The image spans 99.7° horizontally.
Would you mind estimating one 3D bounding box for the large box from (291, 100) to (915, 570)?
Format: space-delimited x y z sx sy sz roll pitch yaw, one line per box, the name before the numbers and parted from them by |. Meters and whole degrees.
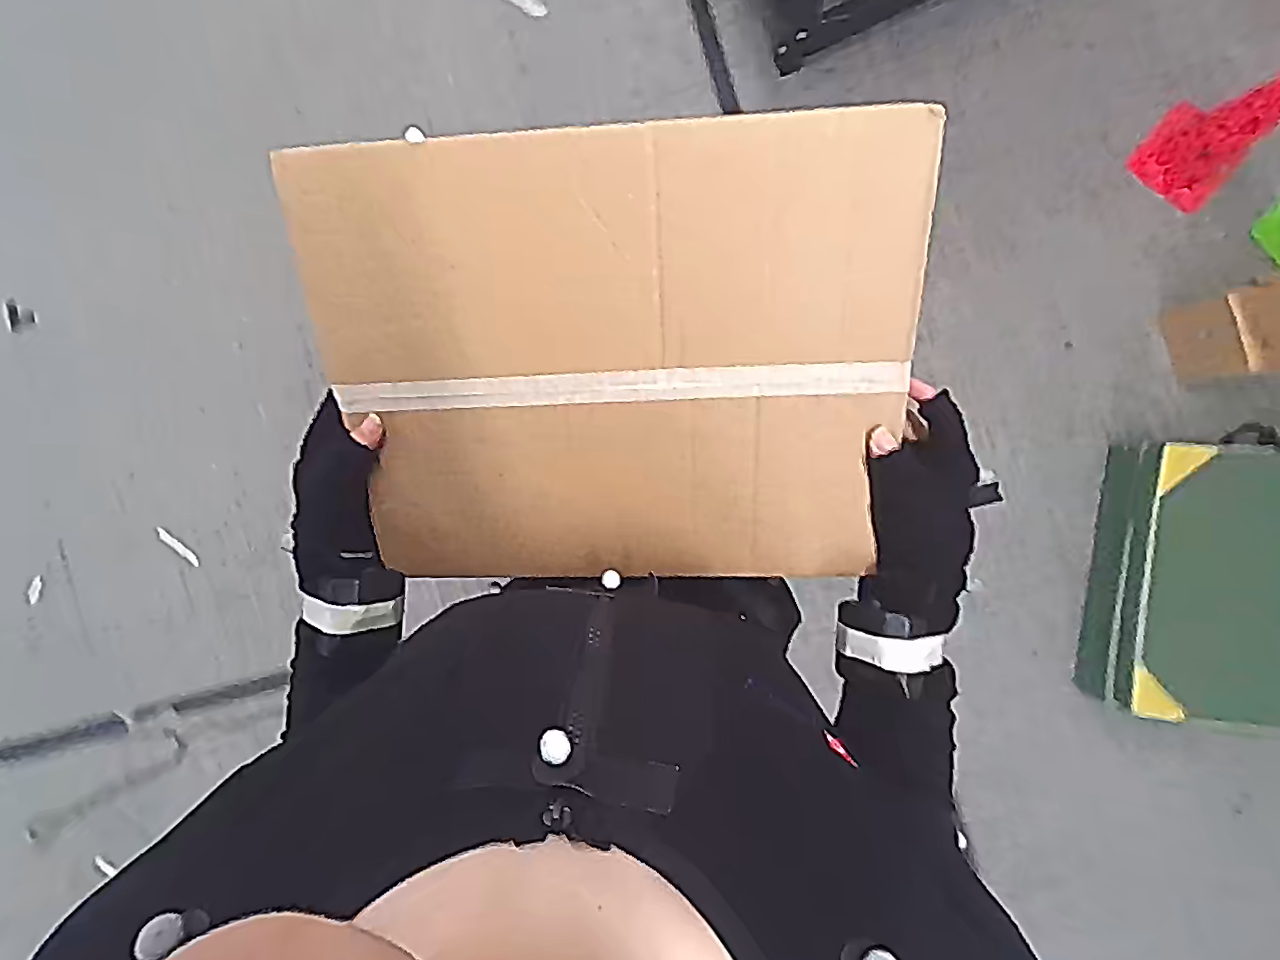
large box | -0.015 -0.131 0.529 0.408 0.320 0.320 -2 114 5
